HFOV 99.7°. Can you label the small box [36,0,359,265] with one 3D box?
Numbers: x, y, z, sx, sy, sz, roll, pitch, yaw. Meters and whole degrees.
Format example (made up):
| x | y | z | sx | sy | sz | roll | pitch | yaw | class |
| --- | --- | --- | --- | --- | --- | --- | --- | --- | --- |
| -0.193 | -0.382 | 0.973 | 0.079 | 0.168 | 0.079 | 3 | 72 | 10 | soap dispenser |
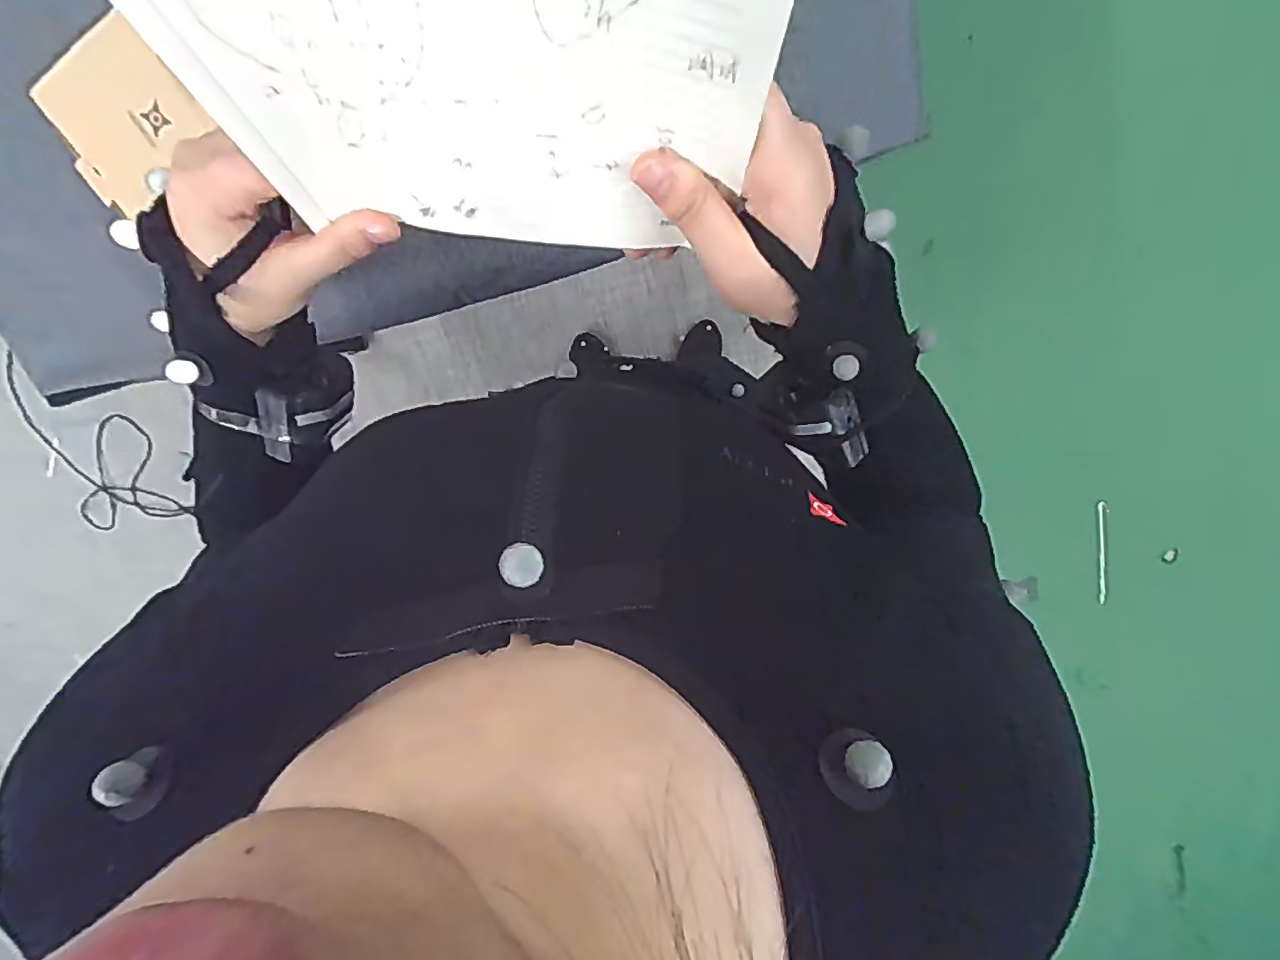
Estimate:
| x | y | z | sx | sy | sz | roll | pitch | yaw | class |
| --- | --- | --- | --- | --- | --- | --- | --- | --- | --- |
| -0.456 | -0.357 | 0.590 | 0.179 | 0.176 | 0.168 | -31 | 104 | 10 | small box |
